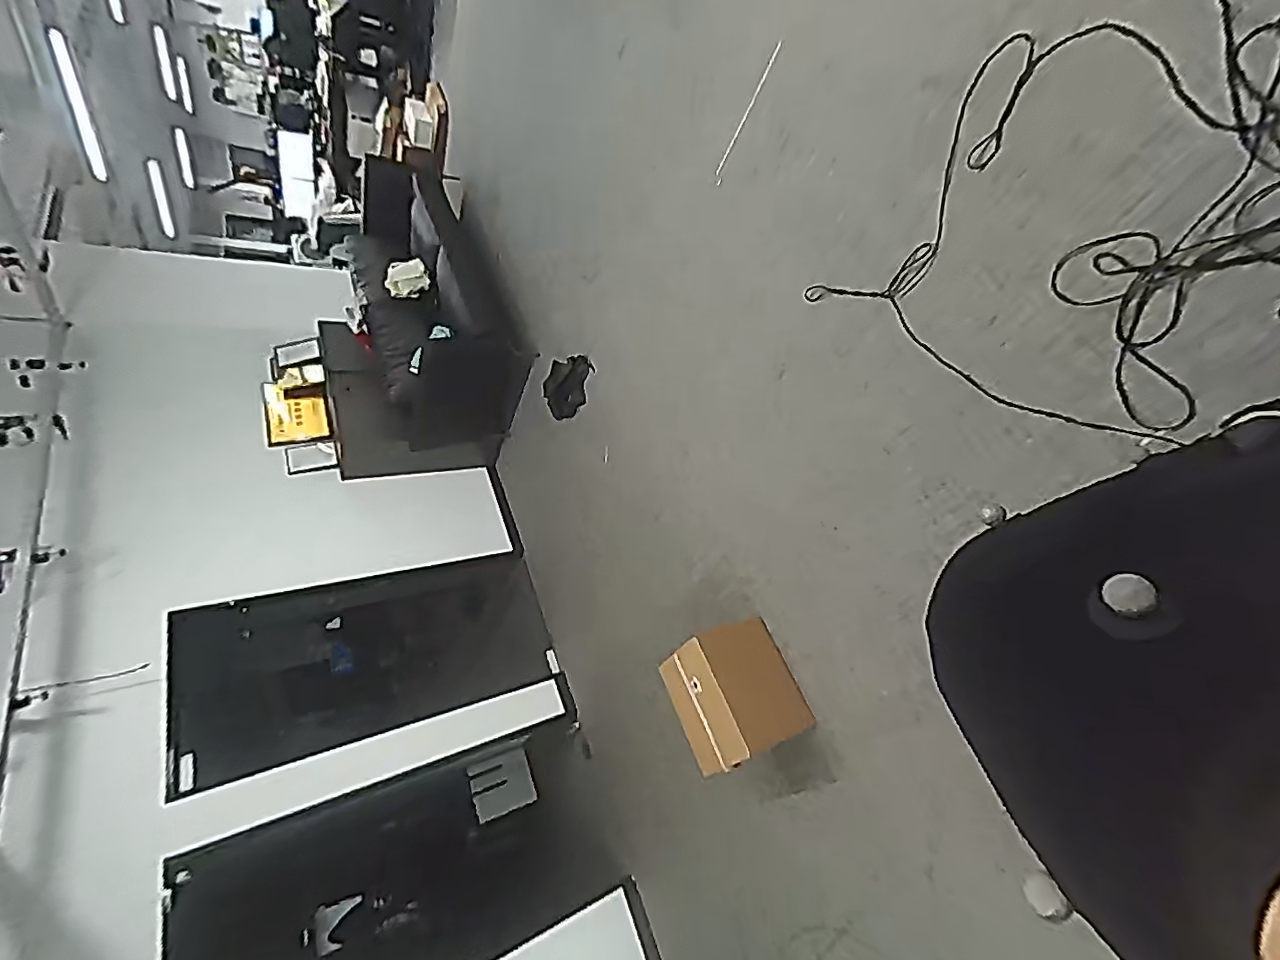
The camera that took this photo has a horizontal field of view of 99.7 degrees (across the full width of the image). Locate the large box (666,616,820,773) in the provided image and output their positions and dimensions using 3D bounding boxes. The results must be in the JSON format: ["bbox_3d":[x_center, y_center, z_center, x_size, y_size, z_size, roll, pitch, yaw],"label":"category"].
[{"bbox_3d":[0.354,0.756,1.931,0.320,0.320,0.408,-57,49,45],"label":"large box"}]
